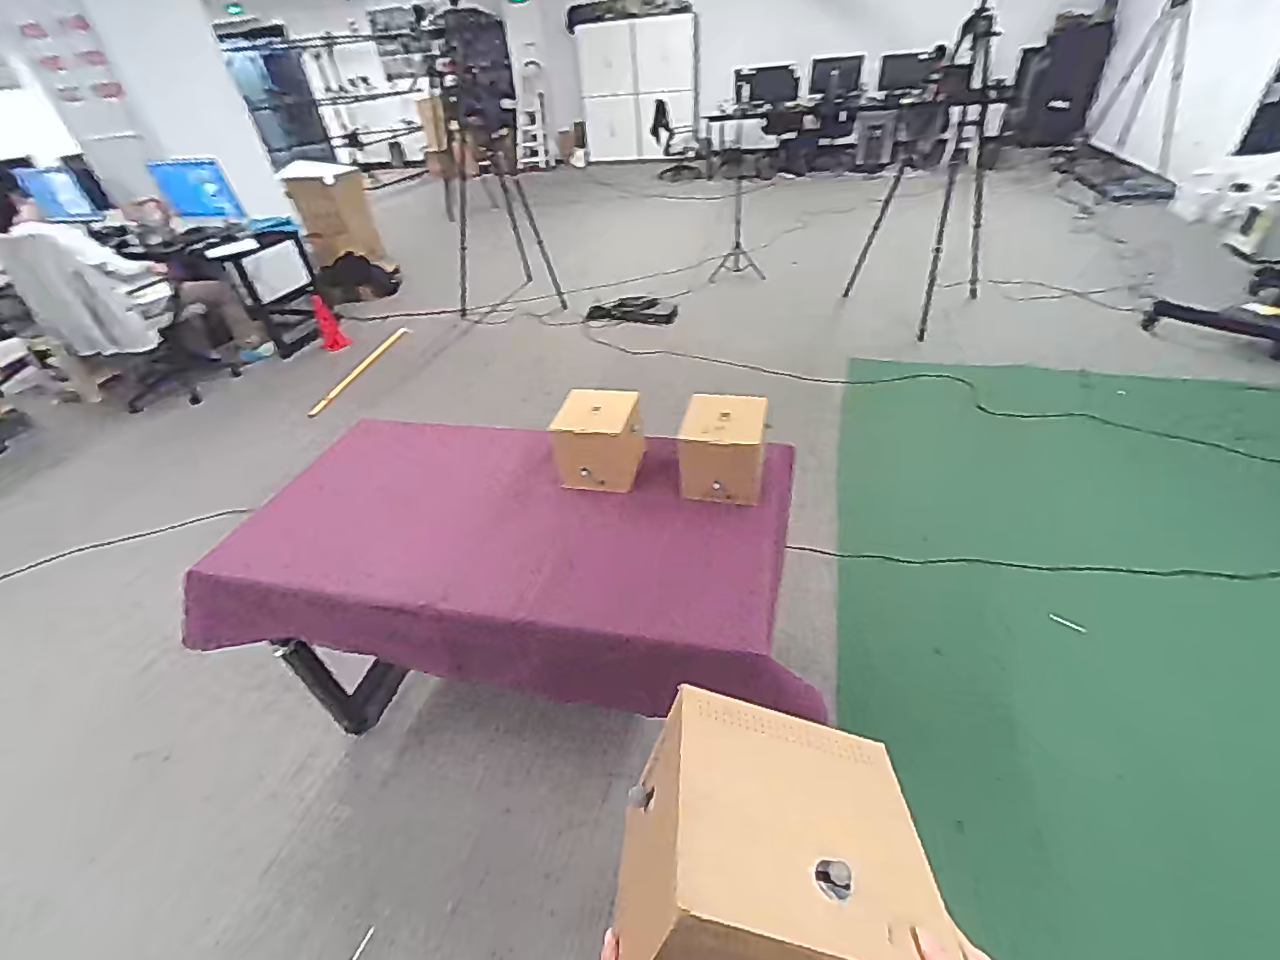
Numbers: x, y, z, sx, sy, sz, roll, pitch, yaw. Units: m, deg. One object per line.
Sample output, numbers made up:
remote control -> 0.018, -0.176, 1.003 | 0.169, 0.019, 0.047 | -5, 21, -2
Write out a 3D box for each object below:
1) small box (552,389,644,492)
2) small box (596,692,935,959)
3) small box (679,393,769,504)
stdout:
small box -> -0.089, -0.096, 1.272 | 0.168, 0.176, 0.179 | 4, 41, 14
small box -> 0.076, 0.290, 0.402 | 0.179, 0.168, 0.176 | 17, 24, -2
small box -> 0.188, -0.072, 1.191 | 0.168, 0.176, 0.179 | 5, 43, 16
